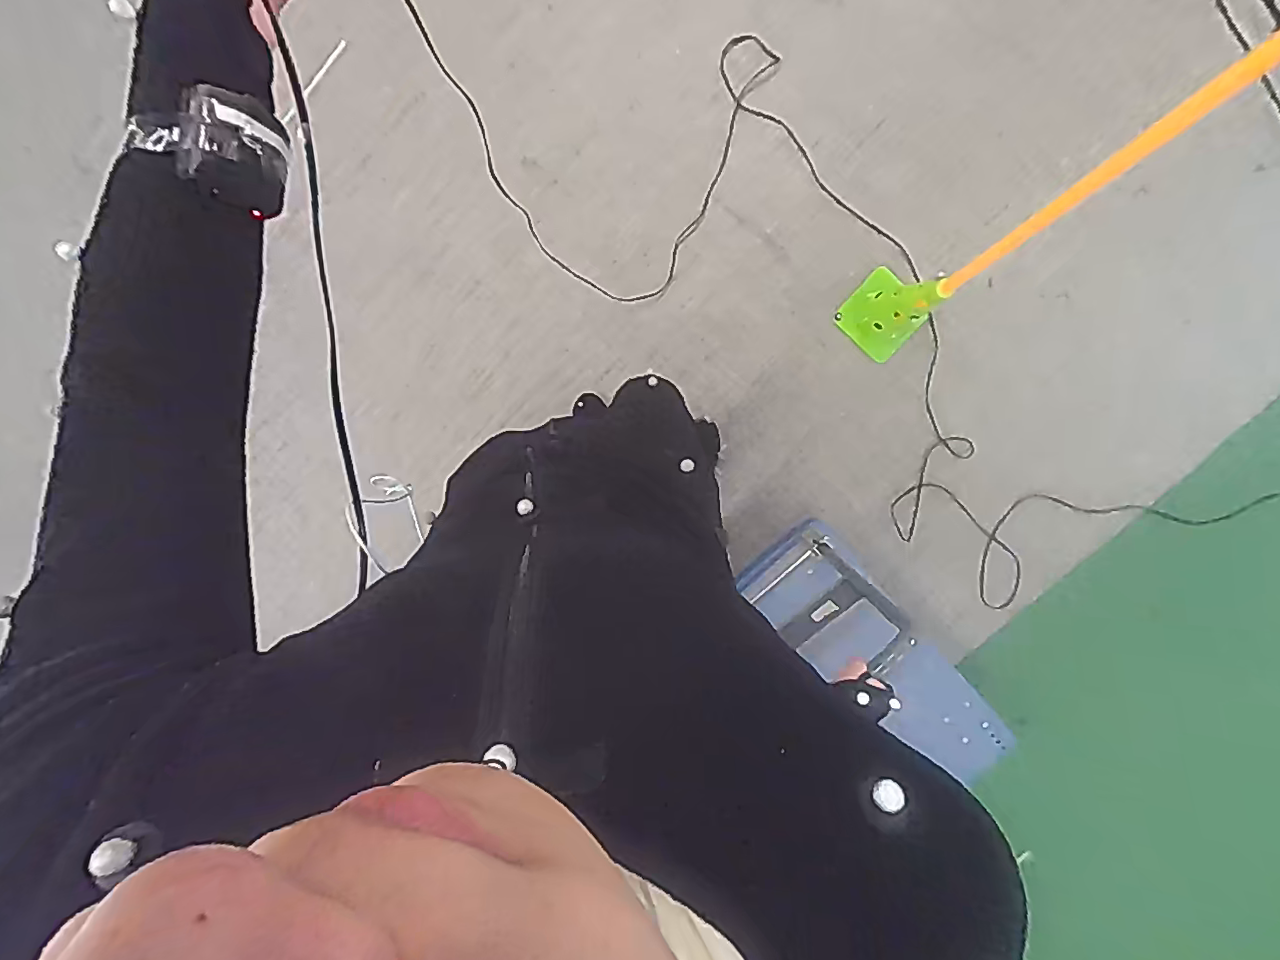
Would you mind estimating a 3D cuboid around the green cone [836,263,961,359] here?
[{"bbox_3d":[0.670,-0.445,1.334,0.200,0.368,0.202,41,97,-5],"label":"green cone"}]
